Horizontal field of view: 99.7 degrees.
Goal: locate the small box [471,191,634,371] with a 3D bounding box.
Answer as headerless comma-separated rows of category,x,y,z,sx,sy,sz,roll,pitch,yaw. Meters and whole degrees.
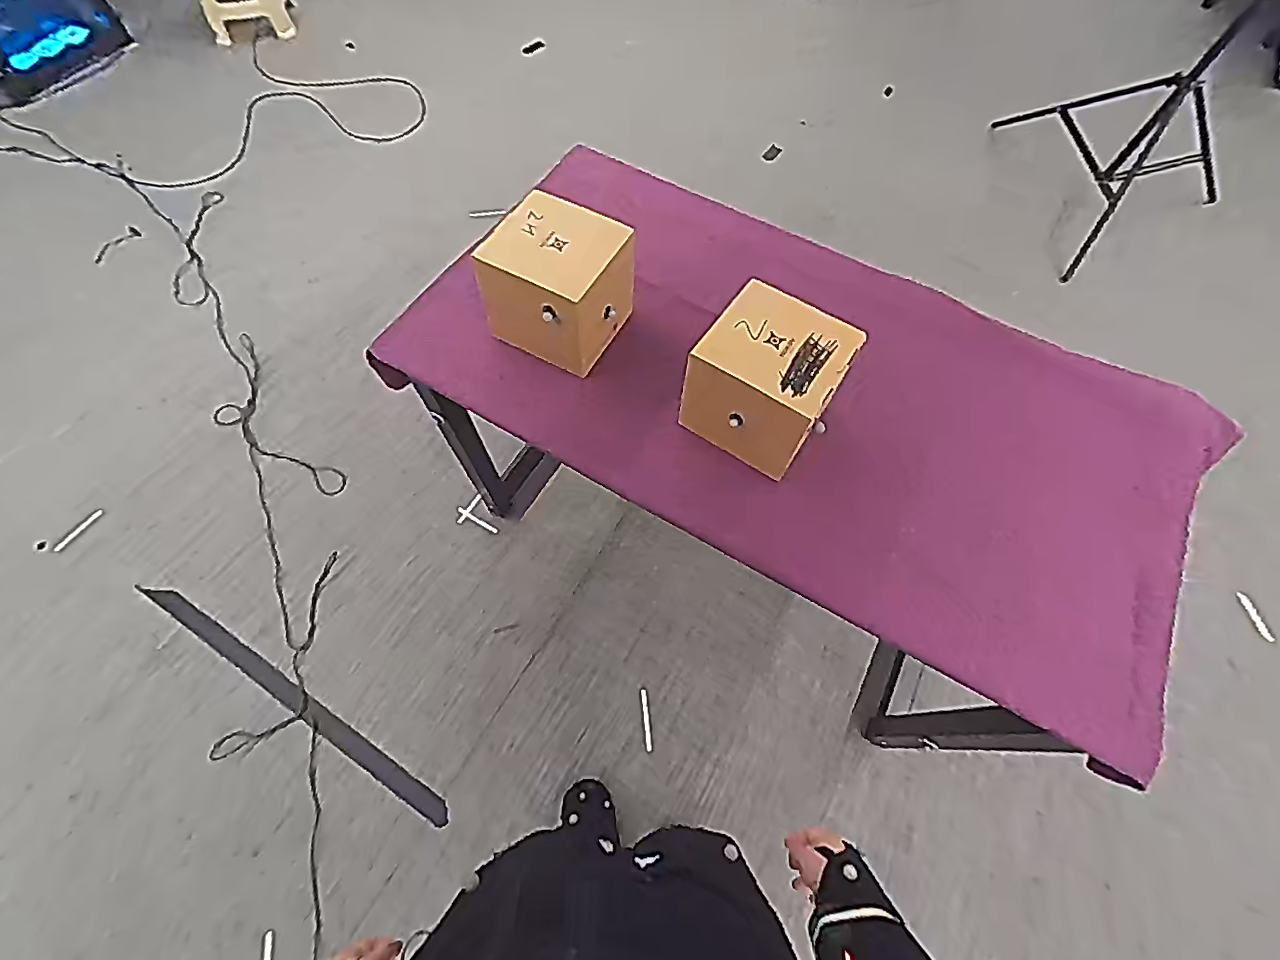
small box,-0.123,-0.296,0.832,0.179,0.176,0.168,26,65,11
